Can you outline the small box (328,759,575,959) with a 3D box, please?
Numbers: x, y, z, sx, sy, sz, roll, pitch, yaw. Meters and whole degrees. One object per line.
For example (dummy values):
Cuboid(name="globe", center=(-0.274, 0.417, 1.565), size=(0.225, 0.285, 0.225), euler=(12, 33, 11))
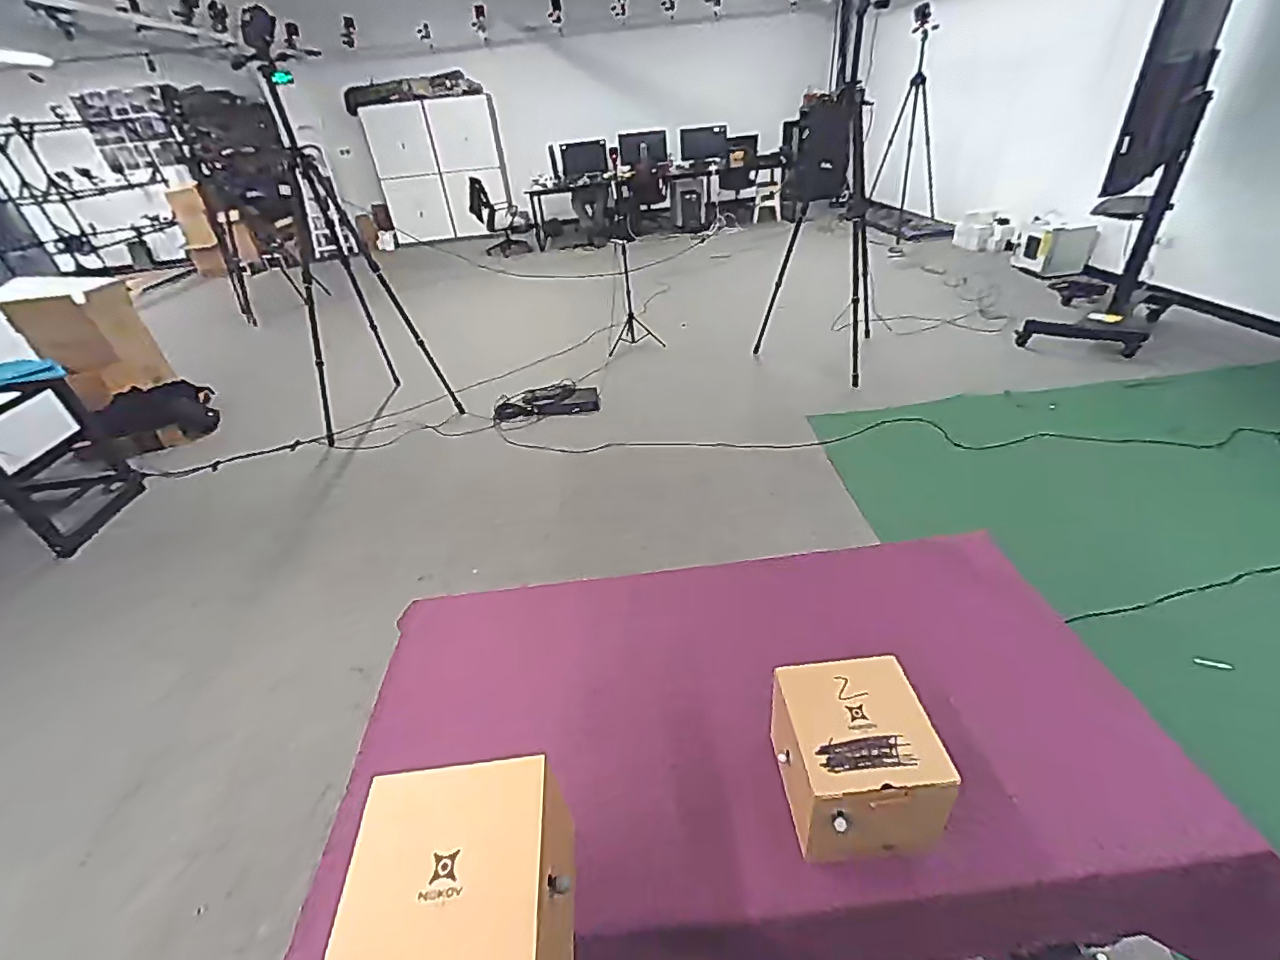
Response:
Cuboid(name="small box", center=(-0.153, 0.388, 0.498), size=(0.168, 0.176, 0.179), euler=(-6, 40, -1))
